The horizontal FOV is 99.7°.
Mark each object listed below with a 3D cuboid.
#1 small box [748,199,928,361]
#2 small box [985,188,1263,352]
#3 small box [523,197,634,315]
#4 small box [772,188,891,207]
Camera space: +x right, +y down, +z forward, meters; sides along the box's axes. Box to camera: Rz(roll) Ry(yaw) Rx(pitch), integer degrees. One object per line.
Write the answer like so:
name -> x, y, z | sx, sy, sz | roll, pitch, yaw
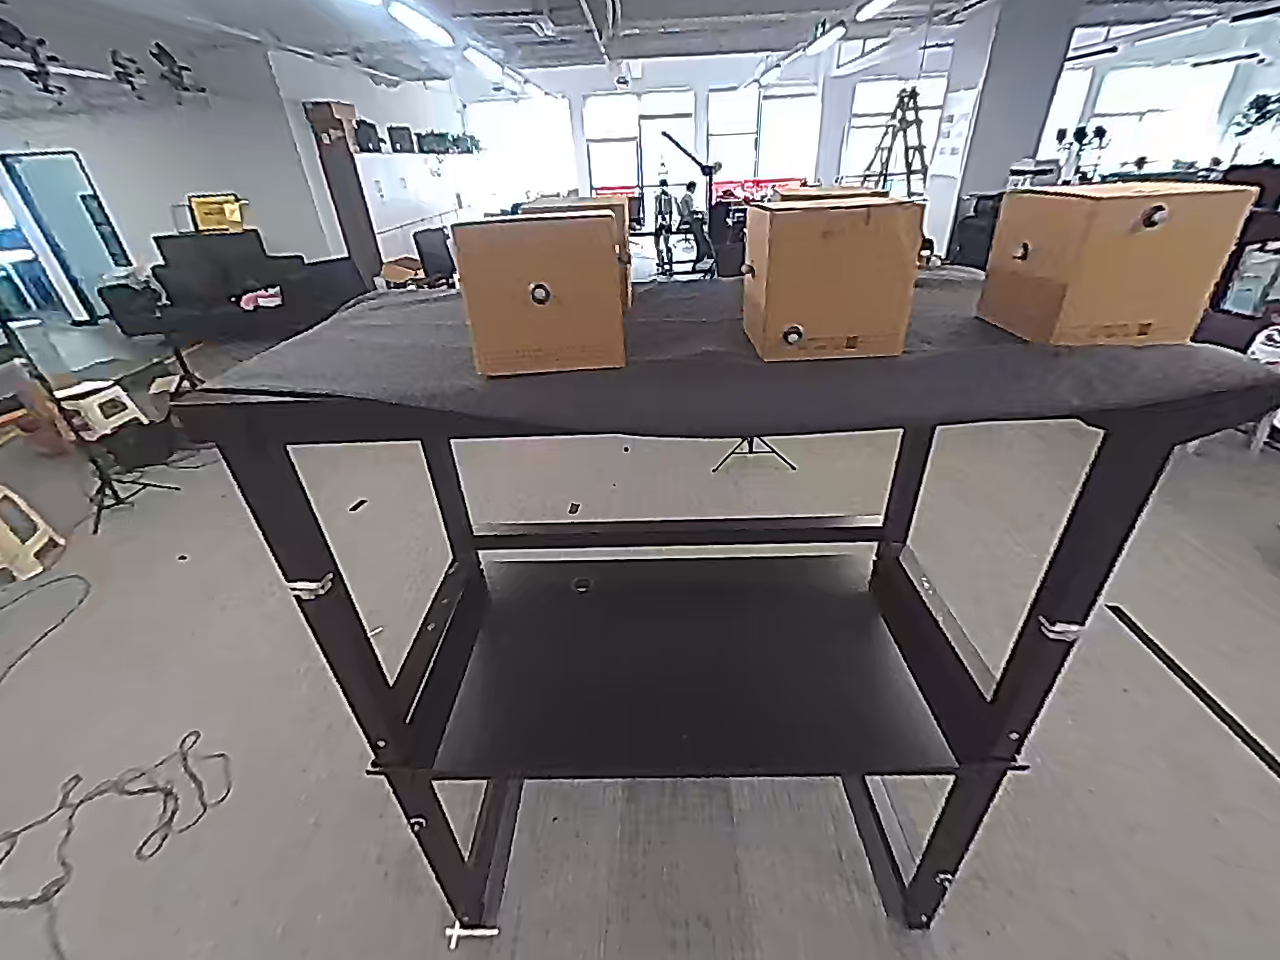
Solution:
small box -> 0.231, -0.251, 0.681 | 0.168, 0.176, 0.179 | -2, 28, 3
small box -> 0.571, -0.265, 0.675 | 0.168, 0.176, 0.179 | -3, 30, 3
small box -> -0.097, -0.391, 0.945 | 0.168, 0.176, 0.179 | -1, 31, 1
small box -> 0.316, -0.406, 0.940 | 0.168, 0.176, 0.179 | 2, 31, 6
